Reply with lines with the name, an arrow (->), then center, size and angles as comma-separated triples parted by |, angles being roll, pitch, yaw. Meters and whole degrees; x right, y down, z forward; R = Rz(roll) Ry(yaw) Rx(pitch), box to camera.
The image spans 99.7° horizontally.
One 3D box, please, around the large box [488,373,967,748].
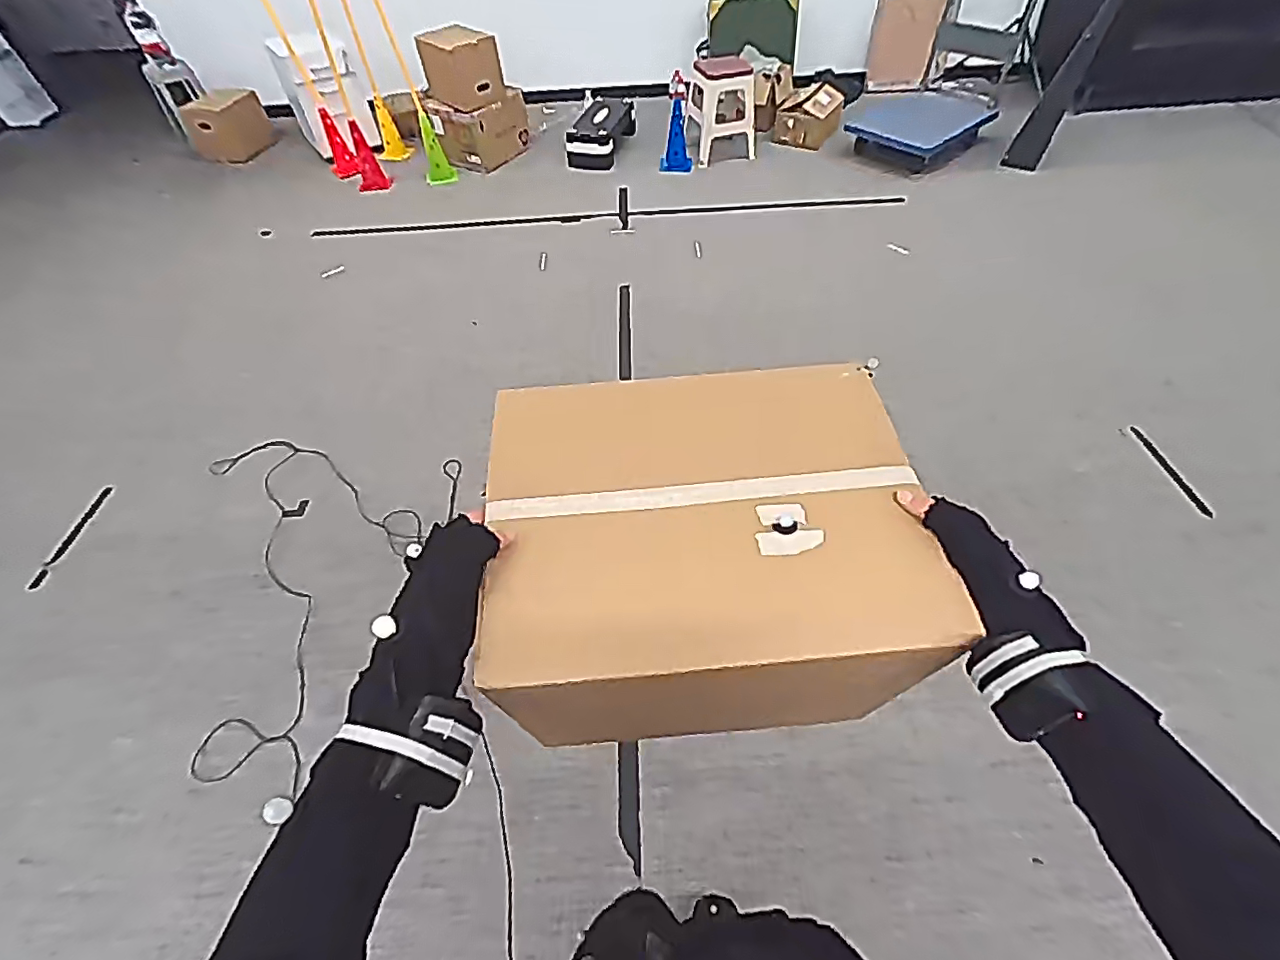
large box -> 0.062, 0.106, 0.642 | 0.408, 0.320, 0.320 | -5, 56, -2
